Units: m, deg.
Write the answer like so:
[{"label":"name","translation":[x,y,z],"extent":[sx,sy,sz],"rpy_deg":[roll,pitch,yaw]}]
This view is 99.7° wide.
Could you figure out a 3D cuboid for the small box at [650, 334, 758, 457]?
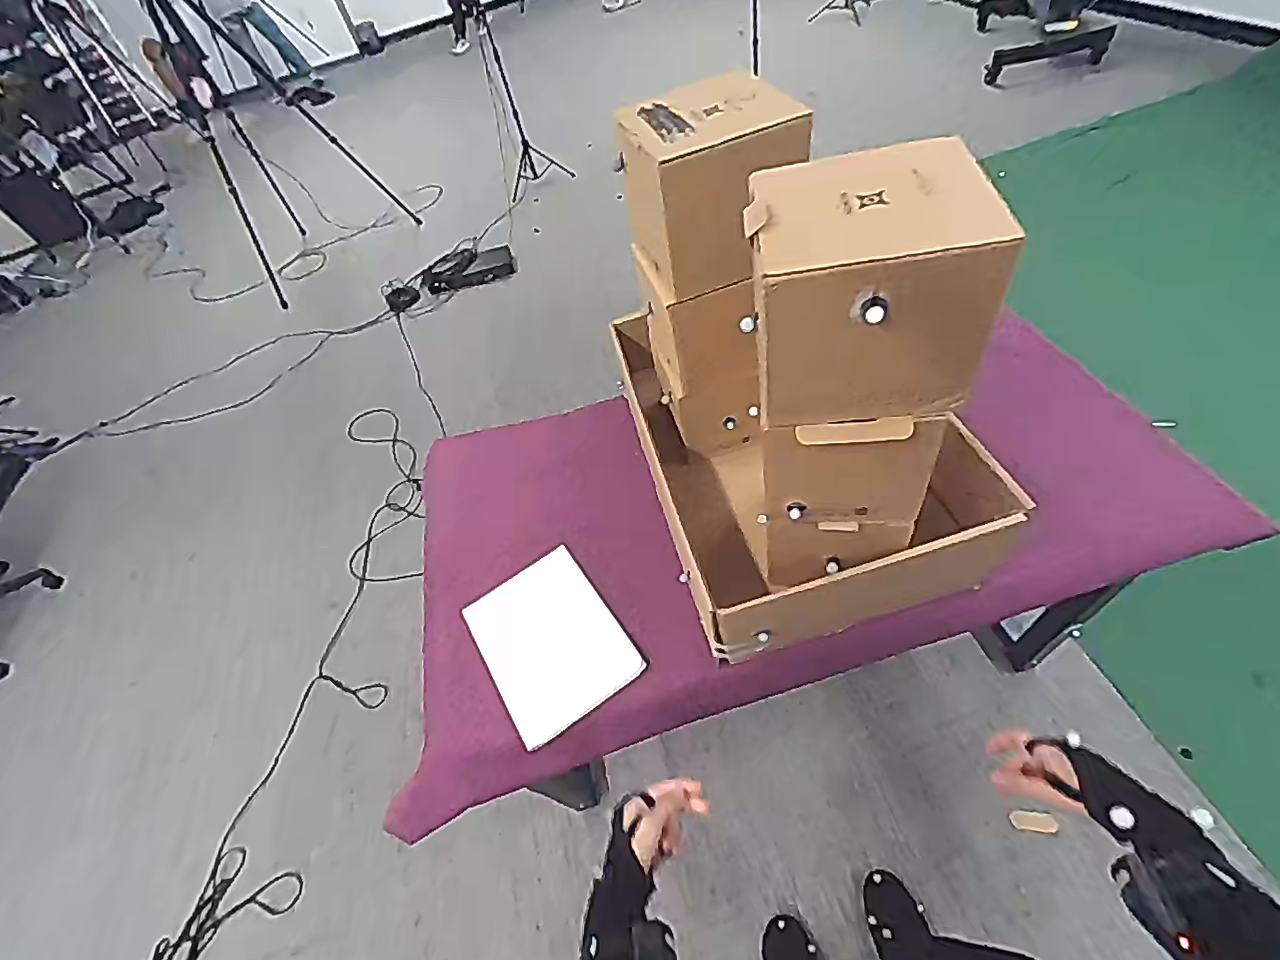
[{"label":"small box","translation":[0.127,-0.158,0.921],"extent":[0.168,0.176,0.179],"rpy_deg":[-17,52,0]}]

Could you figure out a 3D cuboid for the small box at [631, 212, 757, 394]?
[{"label":"small box","translation":[0.104,-0.253,0.792],"extent":[0.179,0.176,0.168],"rpy_deg":[-19,52,-2]}]

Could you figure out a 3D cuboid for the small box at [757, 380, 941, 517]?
[{"label":"small box","translation":[0.221,-0.069,0.612],"extent":[0.168,0.176,0.179],"rpy_deg":[-2,51,14]}]

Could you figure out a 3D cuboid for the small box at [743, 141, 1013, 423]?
[{"label":"small box","translation":[0.190,-0.166,0.485],"extent":[0.179,0.176,0.168],"rpy_deg":[-4,52,12]}]
